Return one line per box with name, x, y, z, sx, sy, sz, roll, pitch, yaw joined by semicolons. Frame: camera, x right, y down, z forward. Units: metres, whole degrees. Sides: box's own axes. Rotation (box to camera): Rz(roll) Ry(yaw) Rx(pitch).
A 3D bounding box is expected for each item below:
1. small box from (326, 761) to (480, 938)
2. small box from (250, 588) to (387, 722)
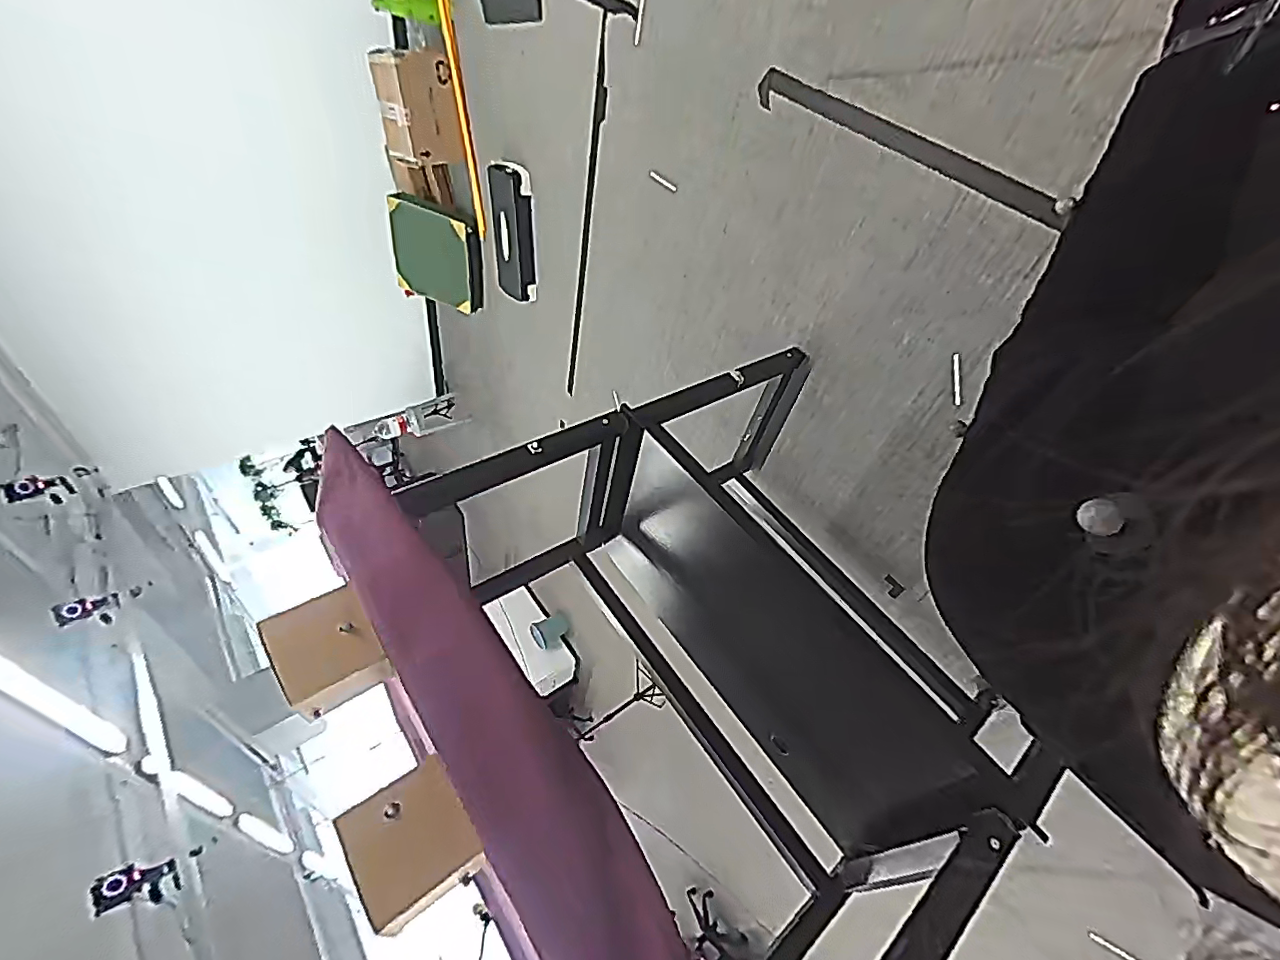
small box;-0.376;0.589;0.879;0.179;0.176;0.168;48;146;25
small box;-0.607;0.329;1.039;0.179;0.176;0.168;54;148;18
